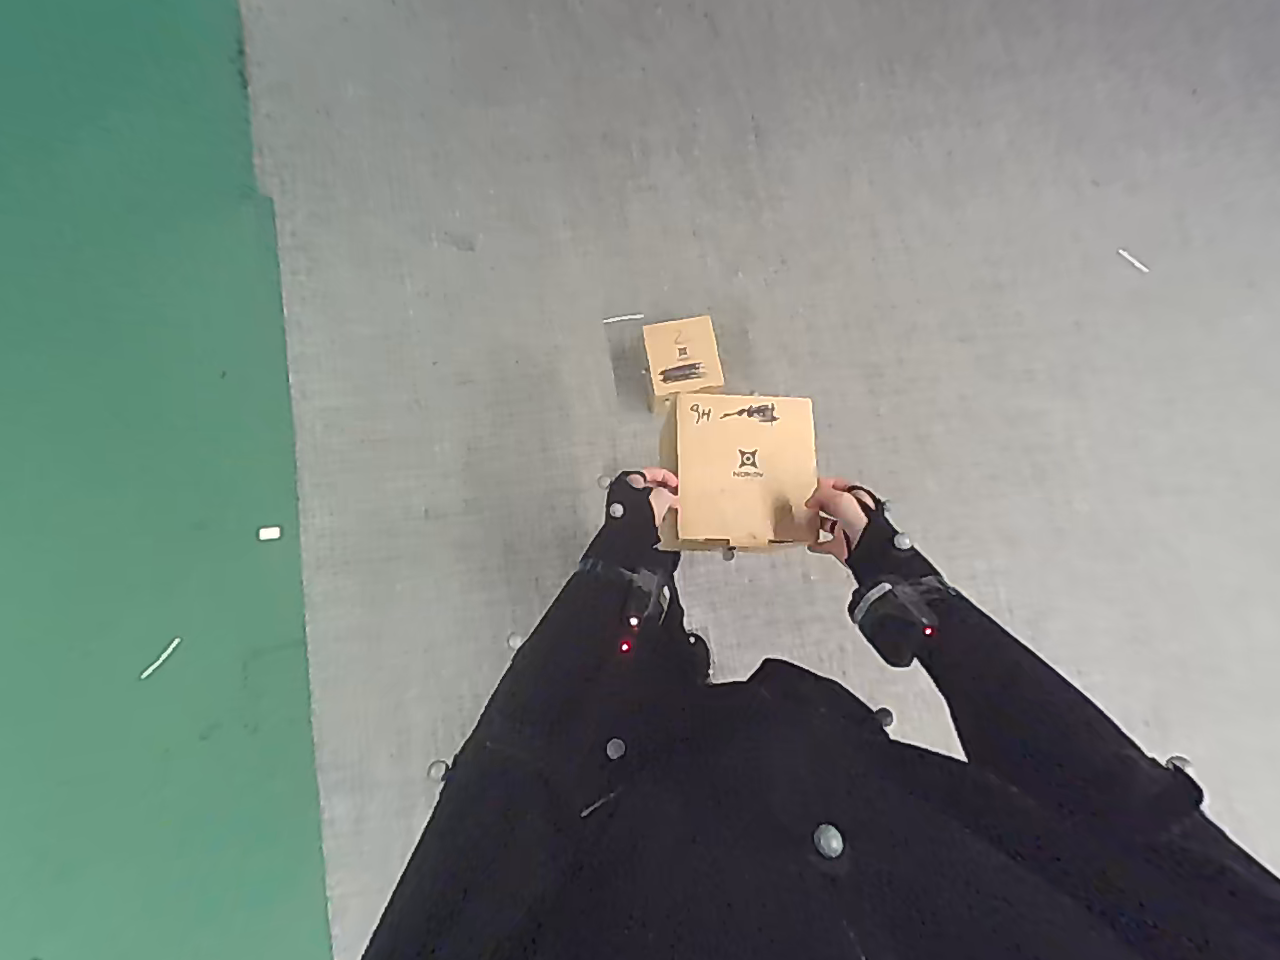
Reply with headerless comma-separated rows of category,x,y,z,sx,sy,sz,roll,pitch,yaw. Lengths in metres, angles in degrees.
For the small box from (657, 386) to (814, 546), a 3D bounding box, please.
small box,0.114,-0.007,0.698,0.168,0.176,0.179,2,80,-5
